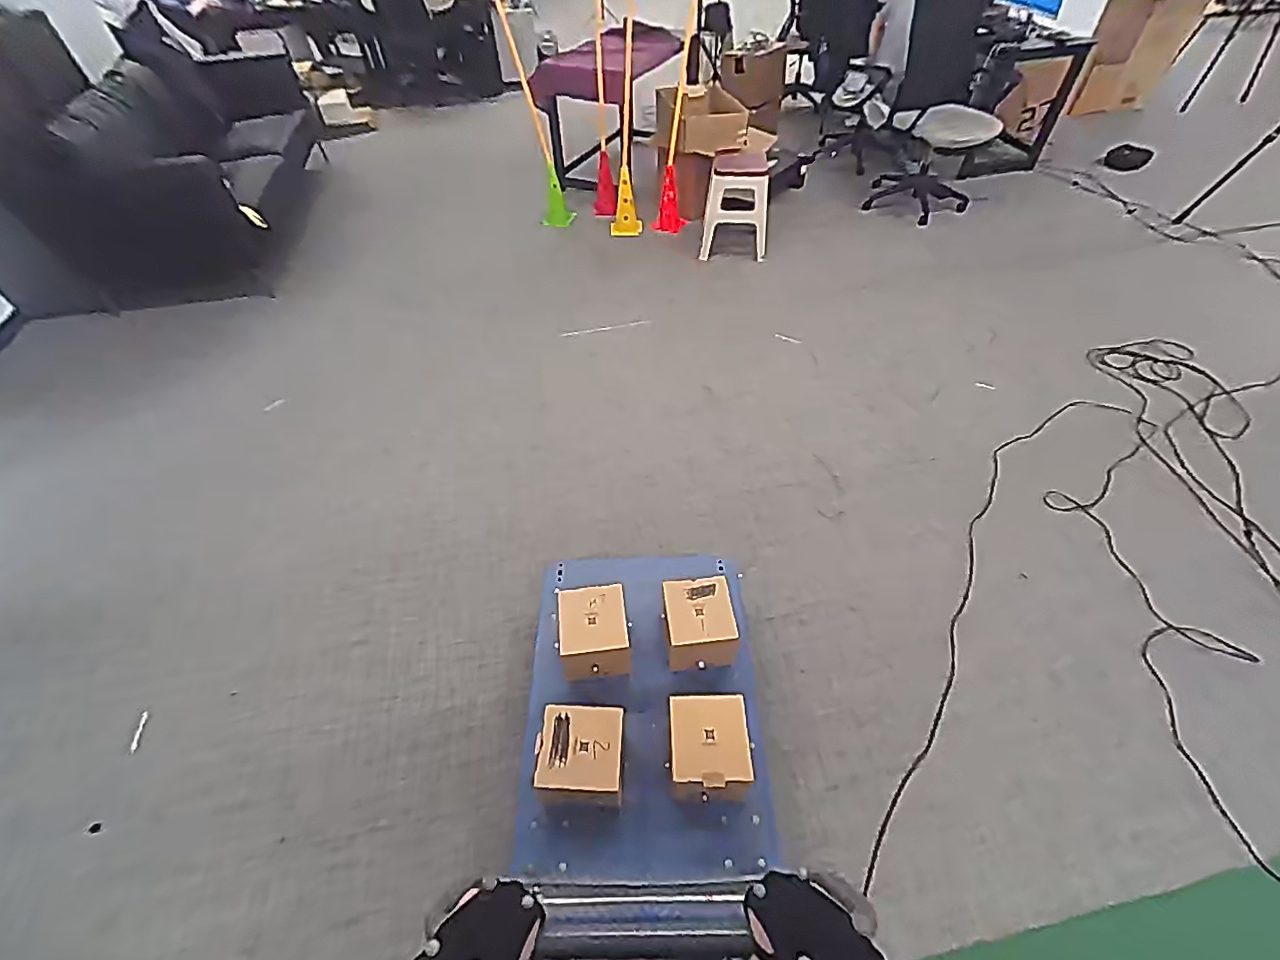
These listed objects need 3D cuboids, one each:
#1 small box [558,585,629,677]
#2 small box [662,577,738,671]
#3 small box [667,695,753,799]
[{"bbox_3d":[-0.118,0.394,1.391,0.168,0.176,0.179,-5,50,-5],"label":"small box"},{"bbox_3d":[0.147,0.374,1.404,0.168,0.176,0.179,-5,51,-3],"label":"small box"},{"bbox_3d":[0.149,0.599,1.212,0.168,0.176,0.179,-1,50,0],"label":"small box"}]
